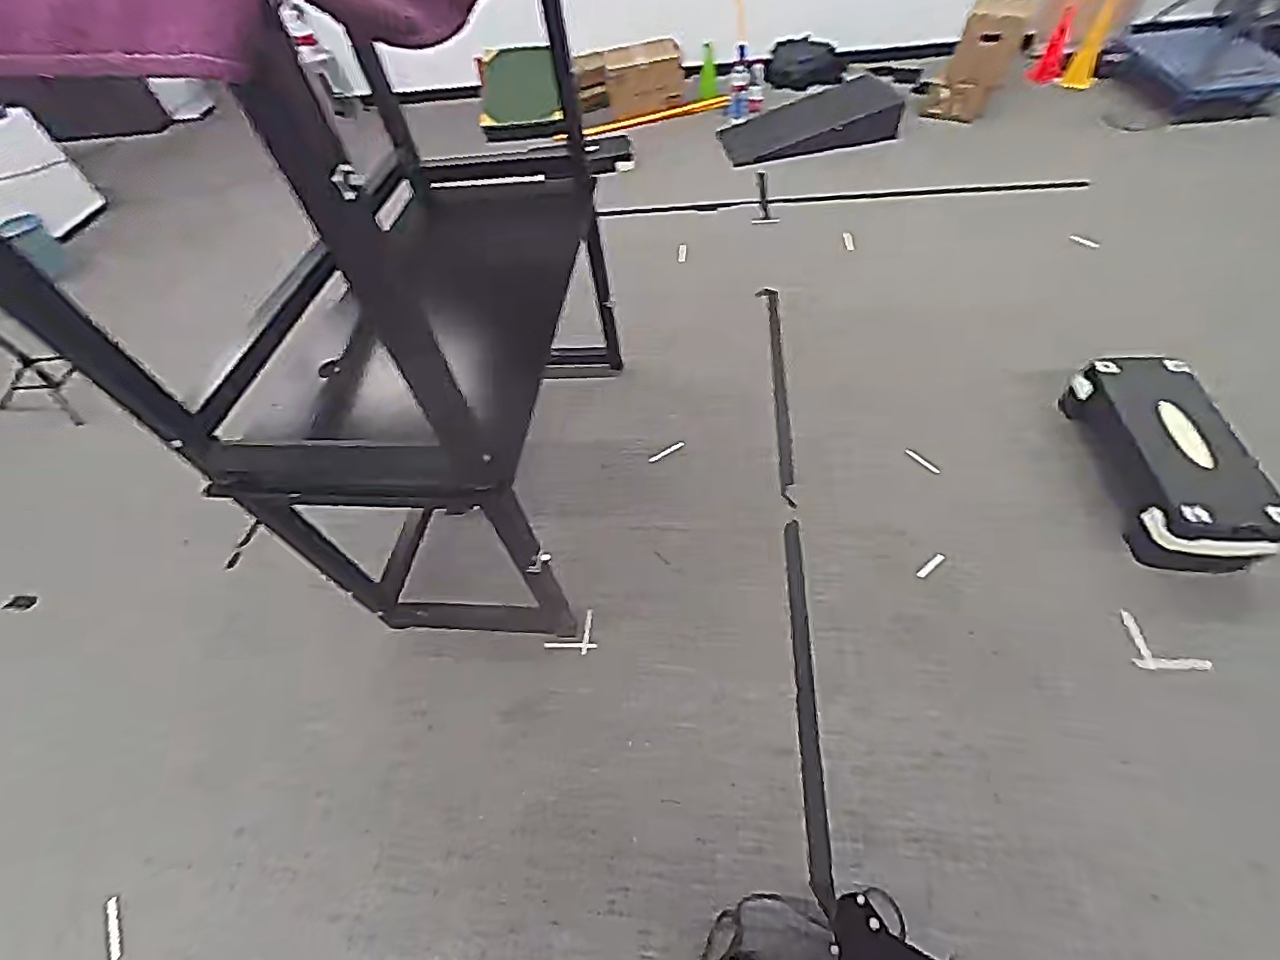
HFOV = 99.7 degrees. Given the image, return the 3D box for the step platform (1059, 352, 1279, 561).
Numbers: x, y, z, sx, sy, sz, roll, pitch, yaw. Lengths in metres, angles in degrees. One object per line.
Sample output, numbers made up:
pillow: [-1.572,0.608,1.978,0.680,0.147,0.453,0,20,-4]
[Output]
step platform: [1.553,-0.102,1.636,0.286,0.204,0.684,5,53,11]
